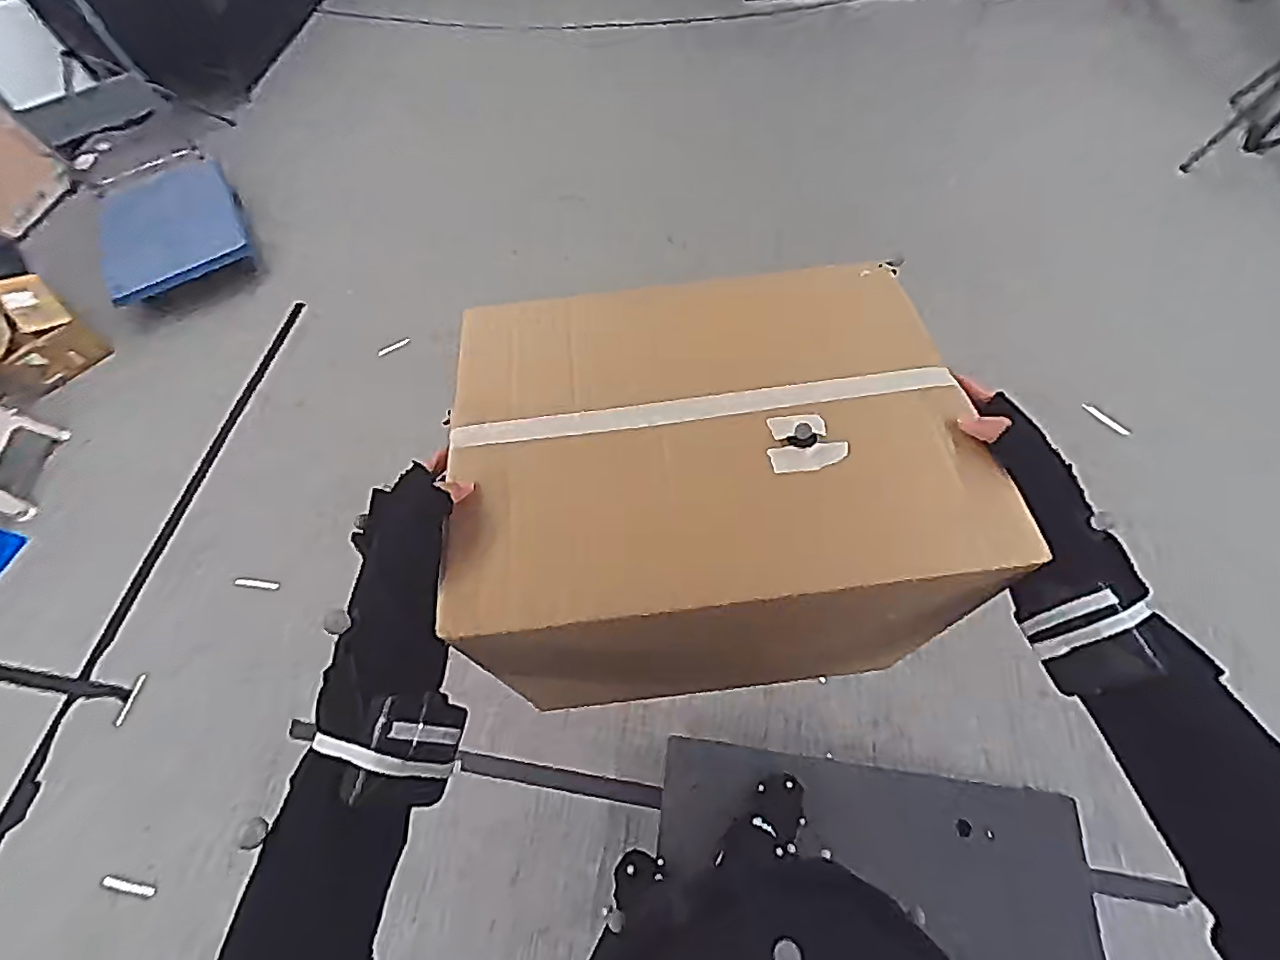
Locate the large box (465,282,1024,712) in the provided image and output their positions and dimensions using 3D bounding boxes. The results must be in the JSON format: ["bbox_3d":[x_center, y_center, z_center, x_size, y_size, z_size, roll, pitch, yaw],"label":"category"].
[{"bbox_3d":[0.064,0.034,0.577,0.408,0.320,0.320,-7,58,-1],"label":"large box"}]

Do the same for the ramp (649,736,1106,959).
[{"bbox_3d":[0.531,0.902,1.205,0.991,0.206,0.509,3,61,7],"label":"ramp"}]
